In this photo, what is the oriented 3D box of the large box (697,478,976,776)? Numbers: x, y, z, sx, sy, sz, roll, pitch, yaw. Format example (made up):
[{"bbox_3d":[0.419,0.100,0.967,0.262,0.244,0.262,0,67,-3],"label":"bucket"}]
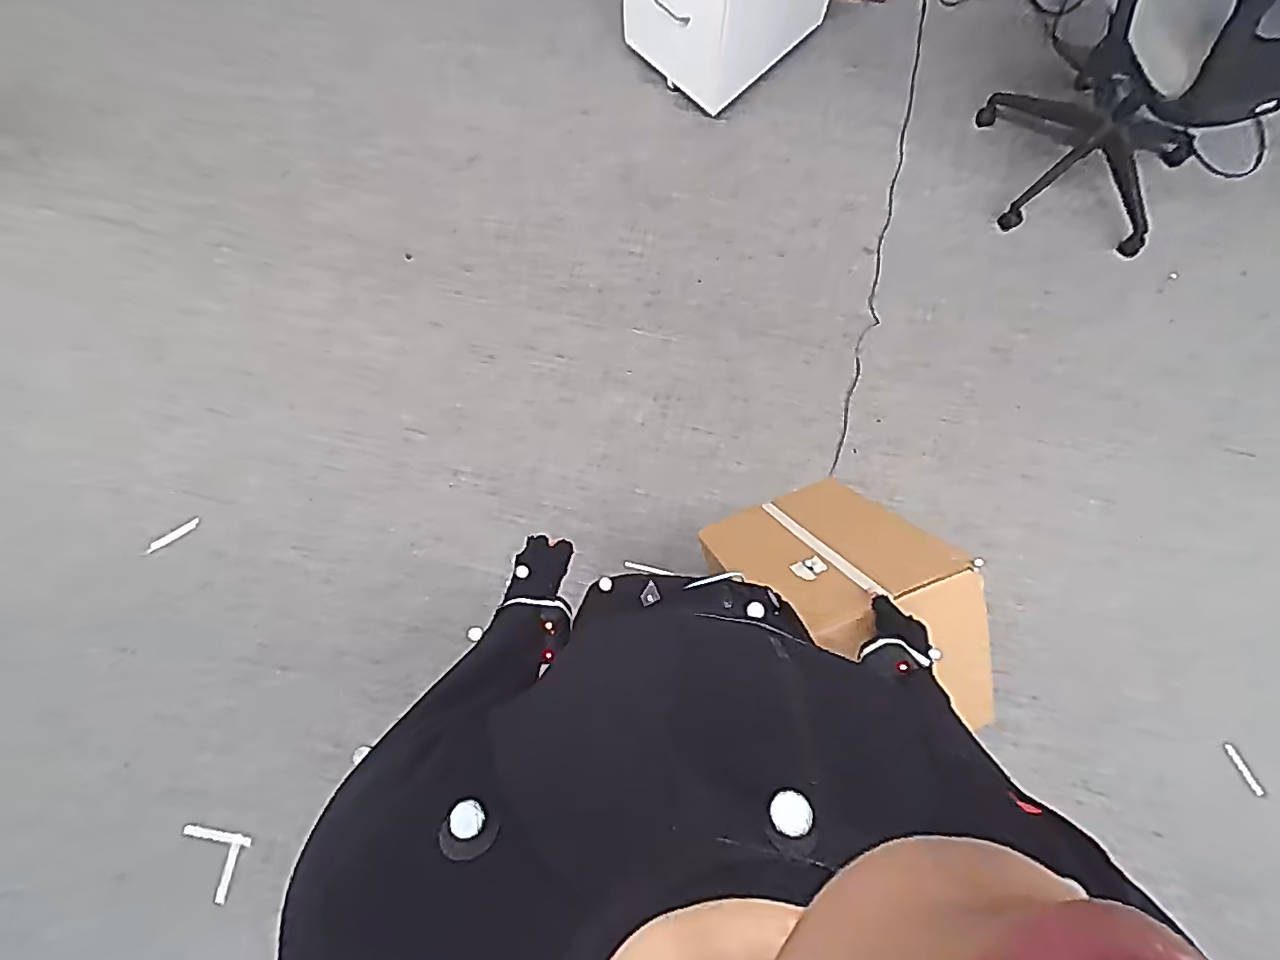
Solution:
[{"bbox_3d":[0.342,0.240,1.015,0.320,0.408,0.320,-21,113,-5],"label":"large box"}]
